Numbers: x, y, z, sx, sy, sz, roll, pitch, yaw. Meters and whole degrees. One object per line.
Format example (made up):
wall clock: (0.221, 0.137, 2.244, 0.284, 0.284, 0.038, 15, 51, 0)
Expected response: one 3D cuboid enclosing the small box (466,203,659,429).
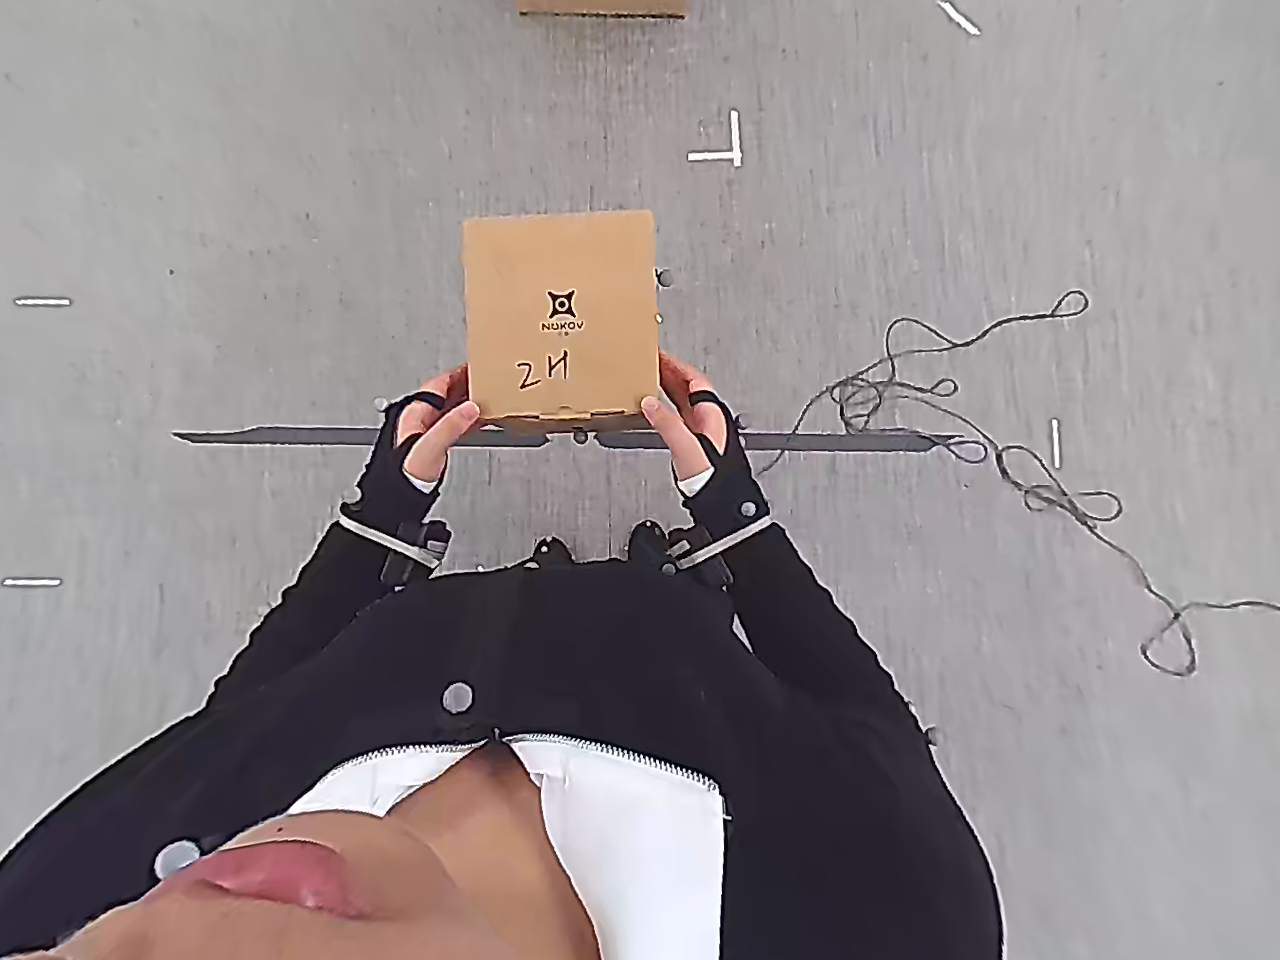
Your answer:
small box: (-0.066, -0.148, 0.543, 0.168, 0.176, 0.179, -2, 90, 2)
